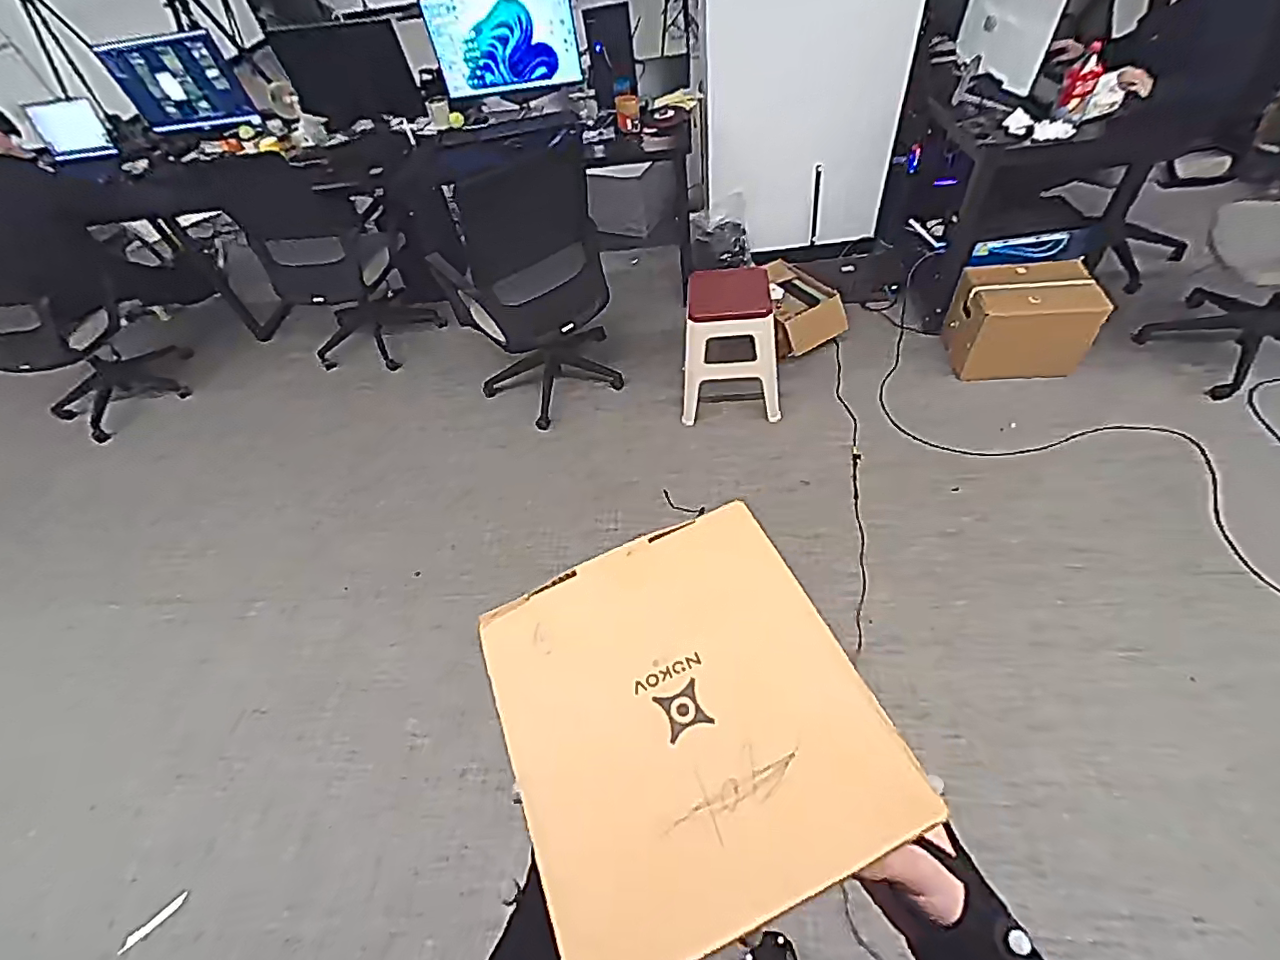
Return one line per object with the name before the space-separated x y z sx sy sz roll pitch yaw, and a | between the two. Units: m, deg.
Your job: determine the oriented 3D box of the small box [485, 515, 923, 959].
small box | 0.026 0.158 0.335 0.168 0.176 0.179 -23 56 -7
